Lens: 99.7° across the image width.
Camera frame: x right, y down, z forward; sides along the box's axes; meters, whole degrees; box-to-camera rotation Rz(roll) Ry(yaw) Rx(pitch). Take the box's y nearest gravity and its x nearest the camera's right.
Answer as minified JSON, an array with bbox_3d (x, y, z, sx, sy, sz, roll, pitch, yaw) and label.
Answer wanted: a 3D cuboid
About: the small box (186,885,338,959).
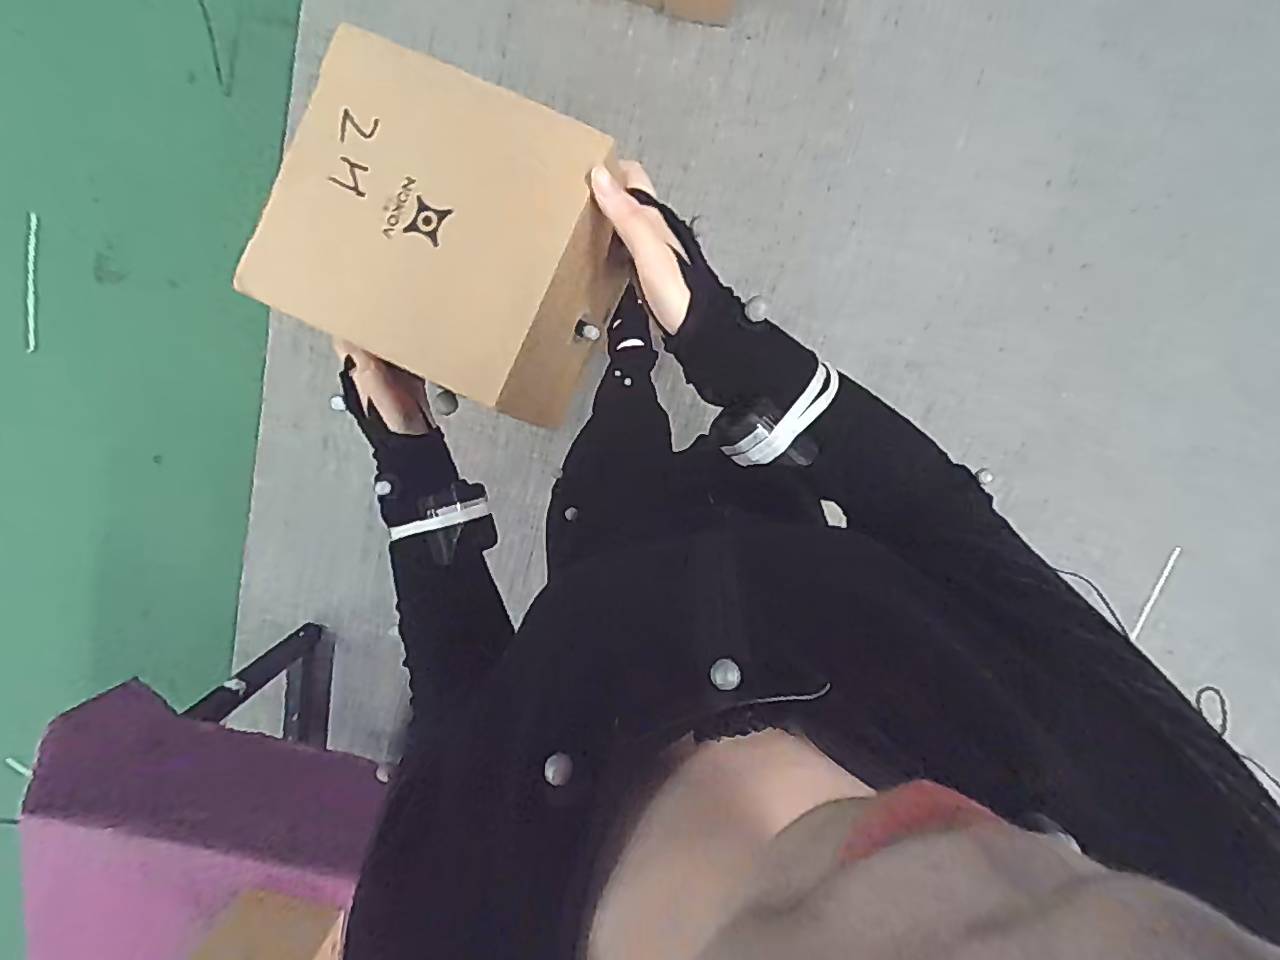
[{"bbox_3d":[-0.619,0.800,0.867,0.179,0.176,0.168,14,103,1],"label":"small box"}]

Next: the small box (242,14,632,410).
[{"bbox_3d":[-0.117,-0.160,0.390,0.179,0.176,0.168,26,92,4],"label":"small box"}]
